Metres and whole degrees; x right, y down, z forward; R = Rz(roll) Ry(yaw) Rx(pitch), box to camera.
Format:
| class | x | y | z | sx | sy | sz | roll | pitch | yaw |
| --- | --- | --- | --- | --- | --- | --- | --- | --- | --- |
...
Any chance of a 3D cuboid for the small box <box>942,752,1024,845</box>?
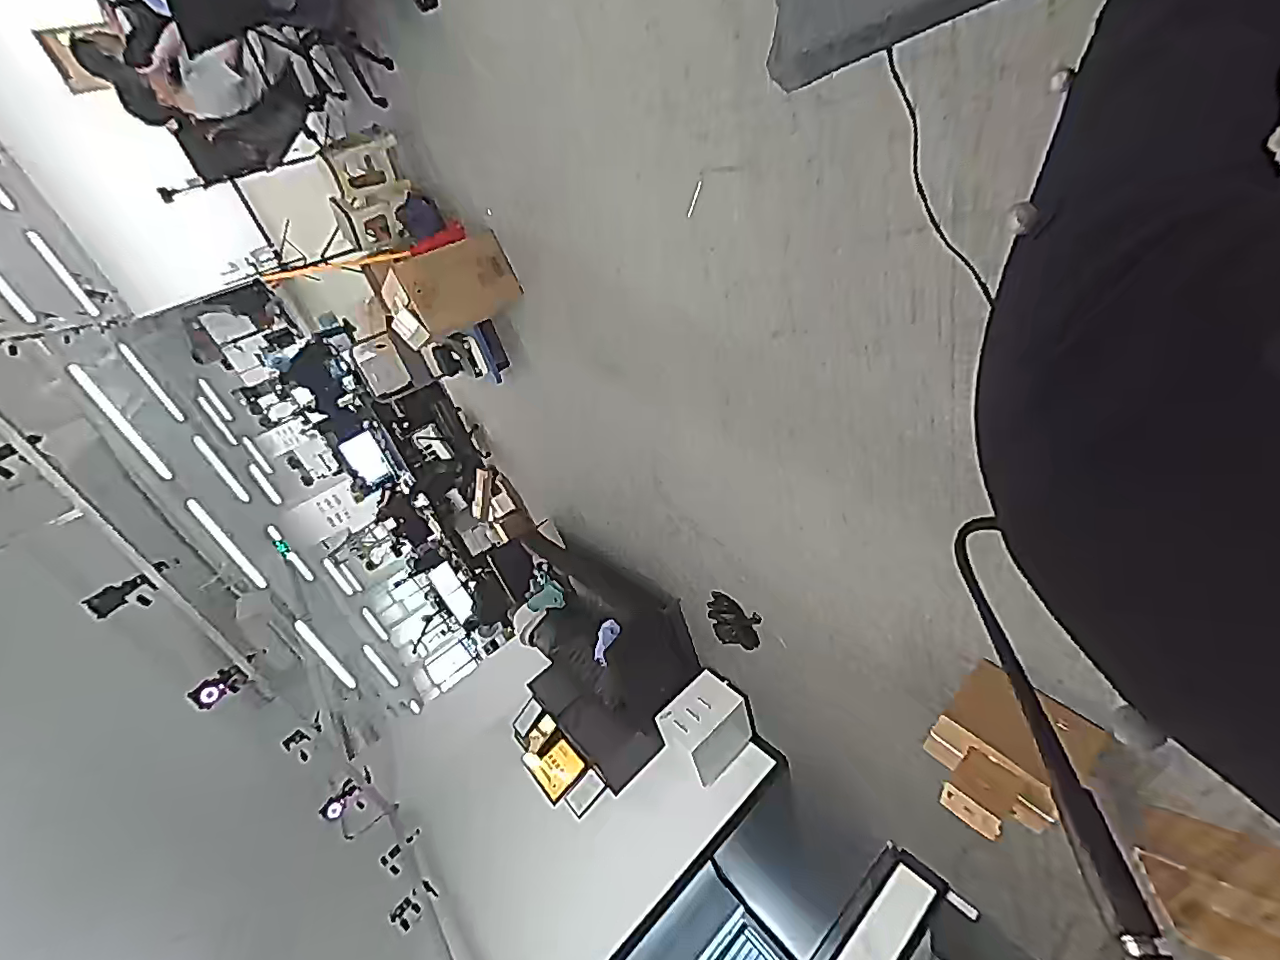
| class | x | y | z | sx | sy | sz | roll | pitch | yaw |
| --- | --- | --- | --- | --- | --- | --- | --- | --- | --- |
| small box | 1.150 | 1.062 | 1.814 | 0.179 | 0.176 | 0.168 | 28 | 143 | 43 |
